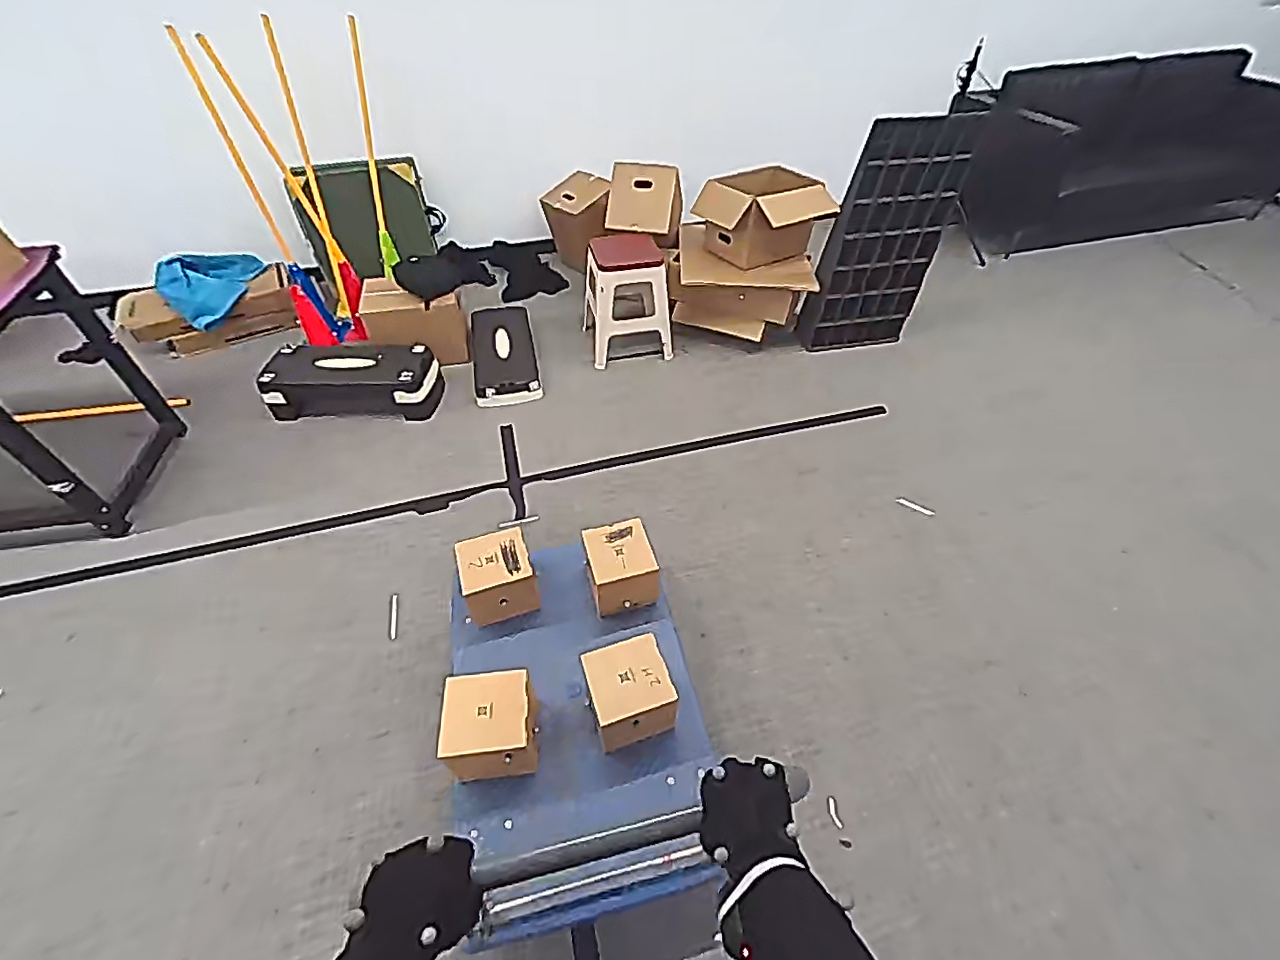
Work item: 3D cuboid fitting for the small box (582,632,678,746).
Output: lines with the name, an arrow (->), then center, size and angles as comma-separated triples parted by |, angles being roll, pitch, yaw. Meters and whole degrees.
small box -> -0.023, 0.484, 1.242 | 0.179, 0.176, 0.168 | -14, 49, -13

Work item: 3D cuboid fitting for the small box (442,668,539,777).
small box -> -0.320, 0.536, 1.190 | 0.179, 0.176, 0.168 | -4, 46, -7

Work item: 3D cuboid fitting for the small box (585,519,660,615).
small box -> -0.052, 0.238, 1.472 | 0.168, 0.176, 0.179 | -12, 49, -12
